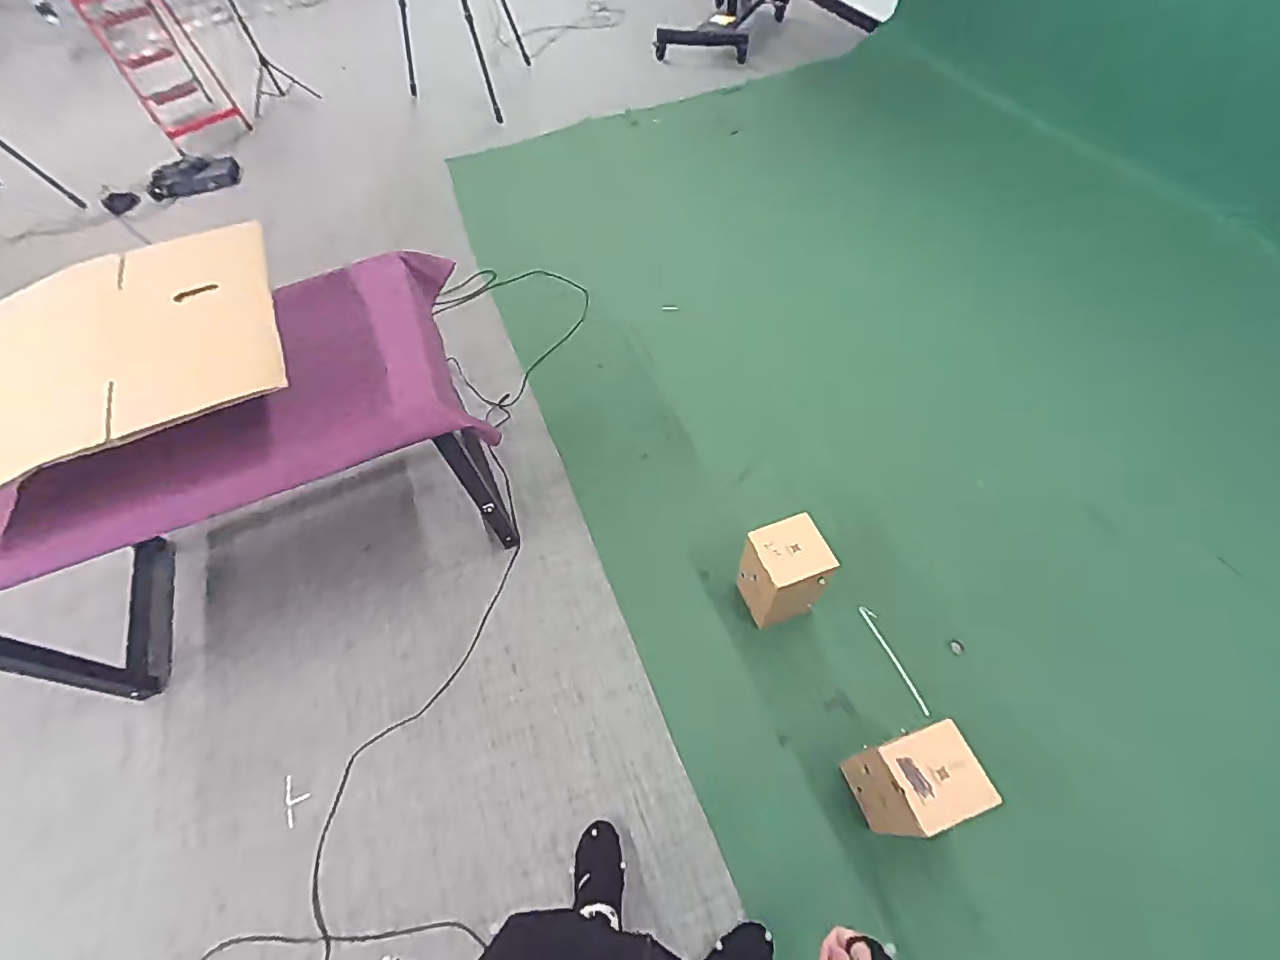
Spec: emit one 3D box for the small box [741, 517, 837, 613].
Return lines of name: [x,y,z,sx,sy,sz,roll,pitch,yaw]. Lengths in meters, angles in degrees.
small box: [0.383,0.227,1.422,0.179,0.176,0.168,-18,57,-8]

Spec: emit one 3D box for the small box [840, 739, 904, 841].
small box: [0.605,0.727,1.280,0.179,0.176,0.168,-20,59,-8]

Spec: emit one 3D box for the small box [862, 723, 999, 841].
small box: [0.595,0.639,1.142,0.179,0.176,0.168,-18,59,-8]
